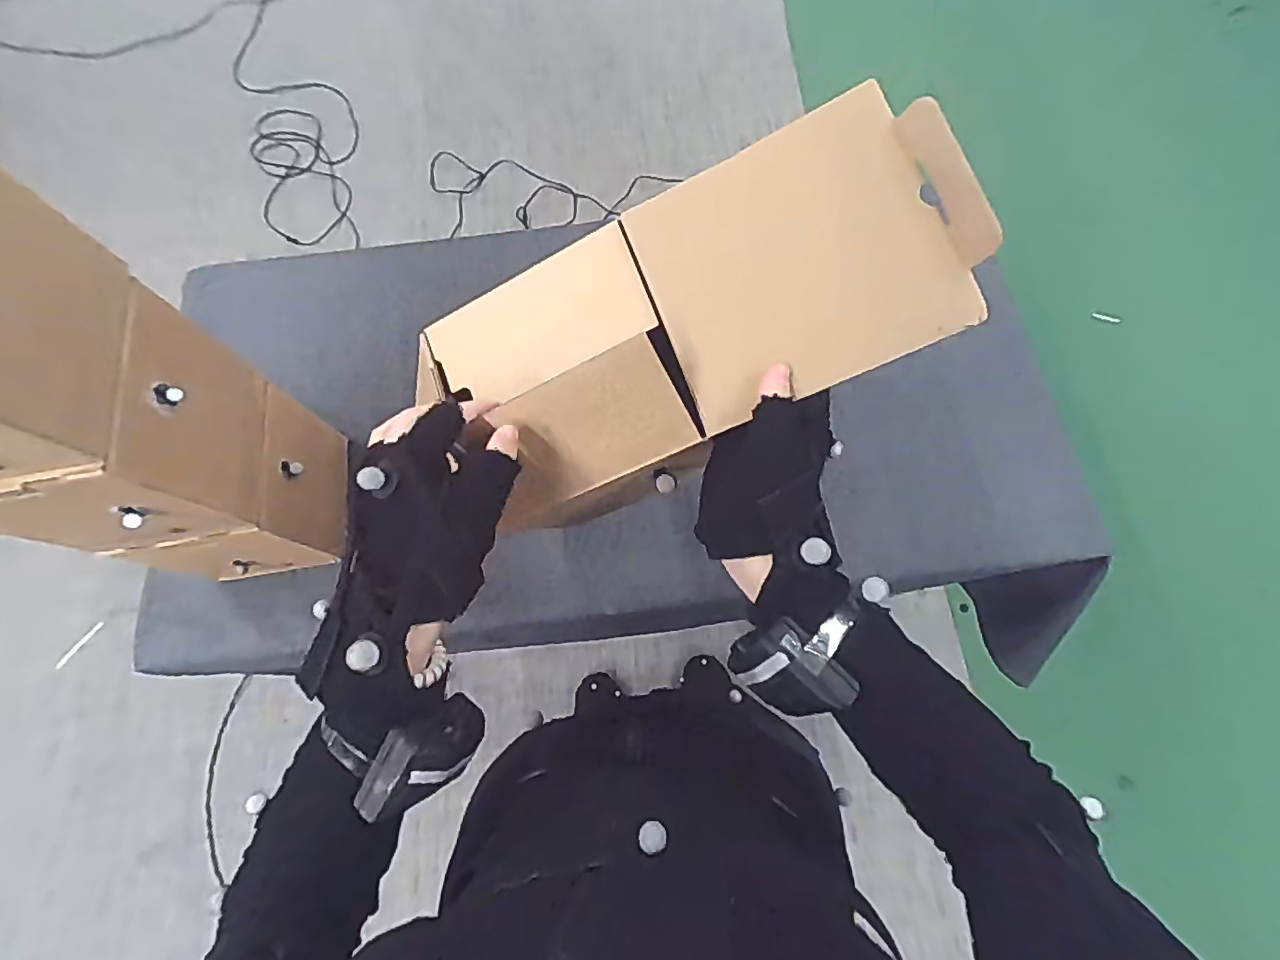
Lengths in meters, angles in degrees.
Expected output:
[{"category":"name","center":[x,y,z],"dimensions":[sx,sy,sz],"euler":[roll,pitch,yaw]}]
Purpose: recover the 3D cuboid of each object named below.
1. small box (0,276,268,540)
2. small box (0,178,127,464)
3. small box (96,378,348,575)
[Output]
[{"category":"small box","center":[-0.474,-0.050,0.489],"dimensions":[0.168,0.176,0.179],"euler":[-9,71,-2]},{"category":"small box","center":[-0.479,-0.109,0.336],"dimensions":[0.168,0.176,0.179],"euler":[-10,71,-3]},{"category":"small box","center":[-0.471,0.004,0.642],"dimensions":[0.168,0.176,0.179],"euler":[-9,72,-2]}]
